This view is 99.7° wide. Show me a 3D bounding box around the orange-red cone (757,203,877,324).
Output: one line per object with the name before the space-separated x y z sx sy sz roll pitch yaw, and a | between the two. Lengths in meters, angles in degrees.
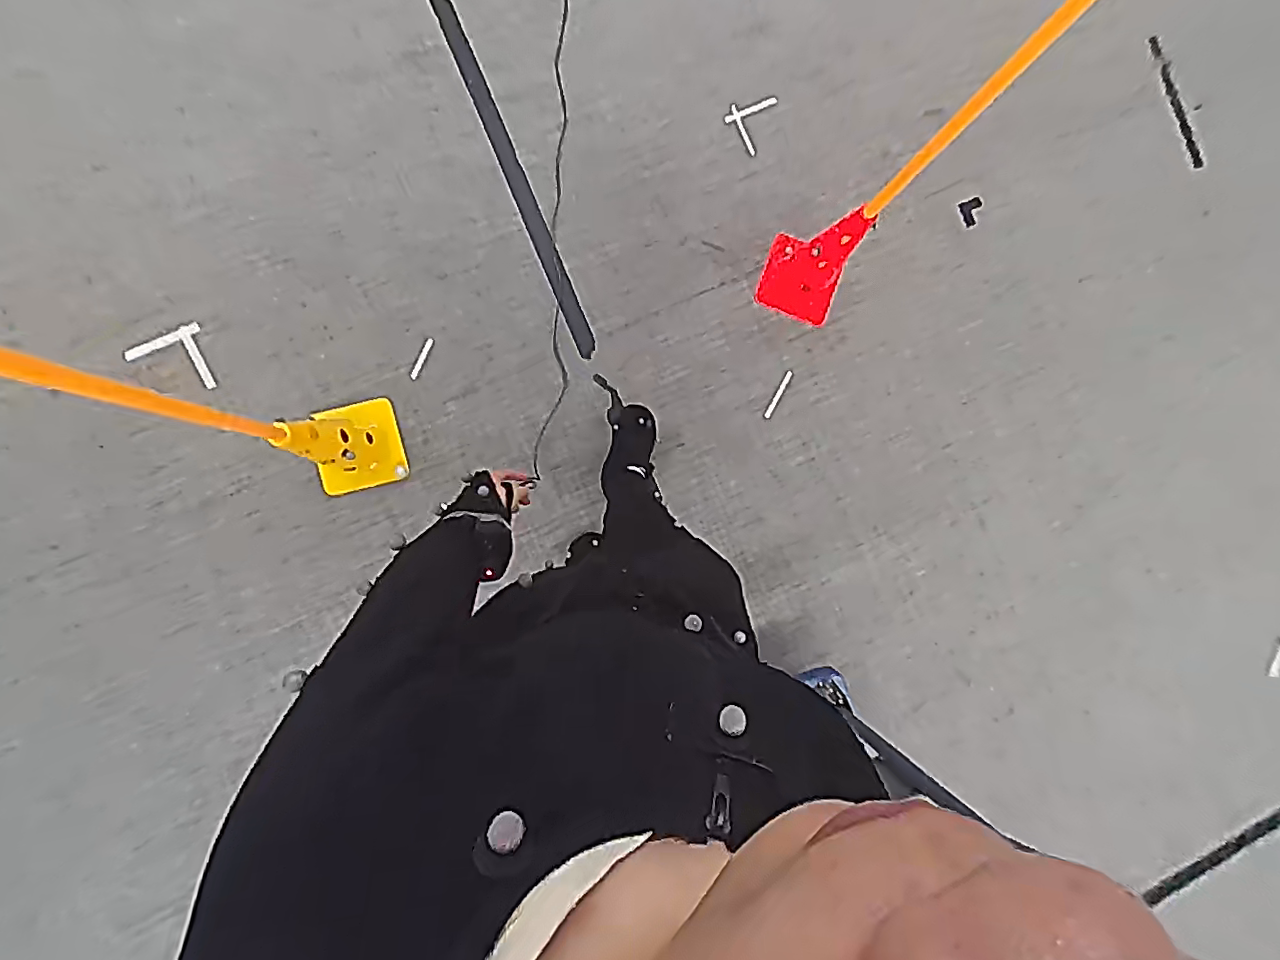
orange-red cone | 0.438 -0.527 1.244 0.198 0.360 0.199 21 88 -4
